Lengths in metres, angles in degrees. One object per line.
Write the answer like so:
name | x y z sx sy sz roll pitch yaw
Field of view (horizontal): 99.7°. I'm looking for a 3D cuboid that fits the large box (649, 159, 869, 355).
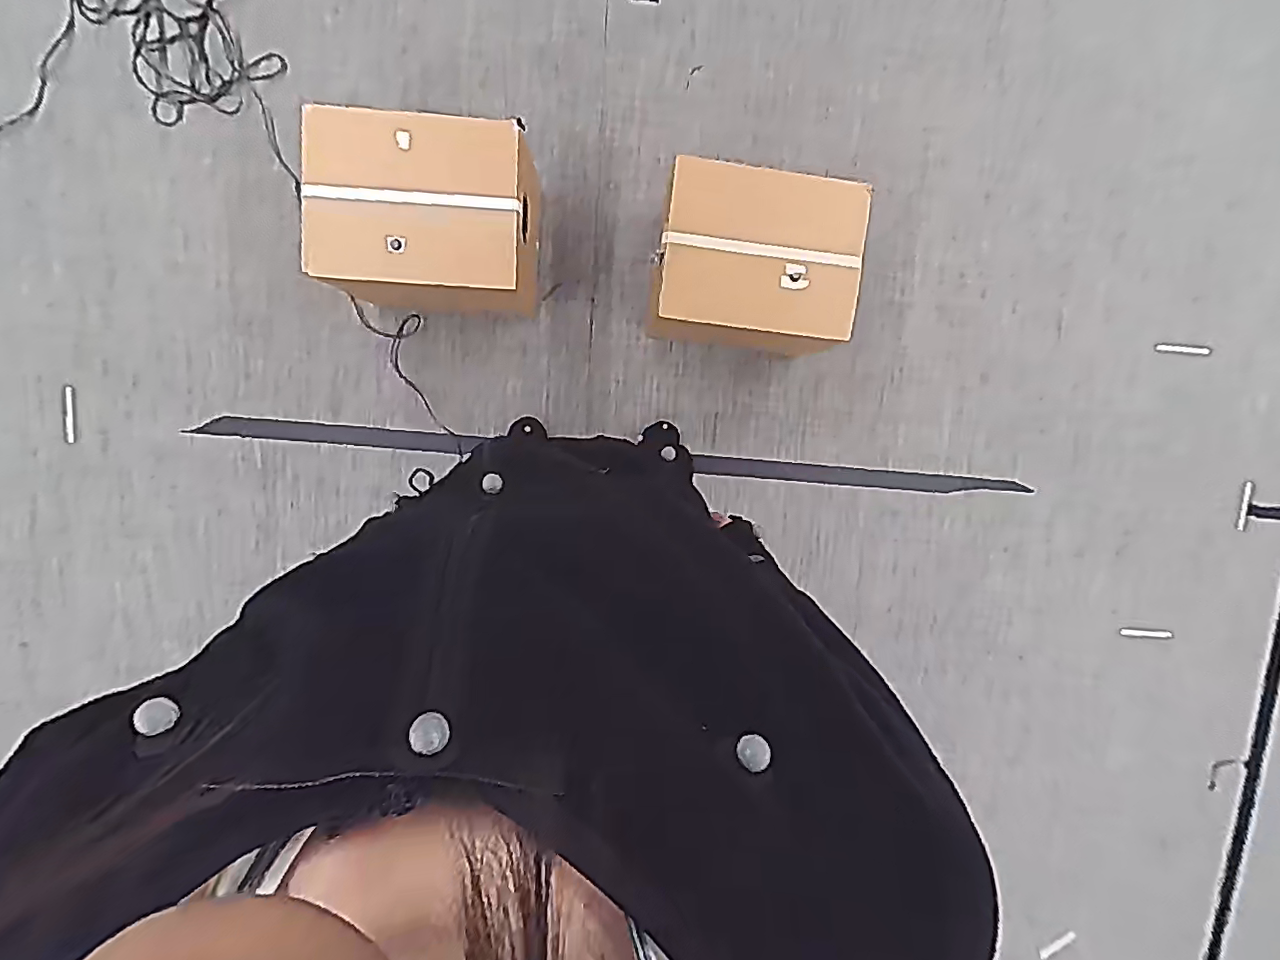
large box | 0.243 -0.481 1.244 0.408 0.320 0.320 6 97 -5
